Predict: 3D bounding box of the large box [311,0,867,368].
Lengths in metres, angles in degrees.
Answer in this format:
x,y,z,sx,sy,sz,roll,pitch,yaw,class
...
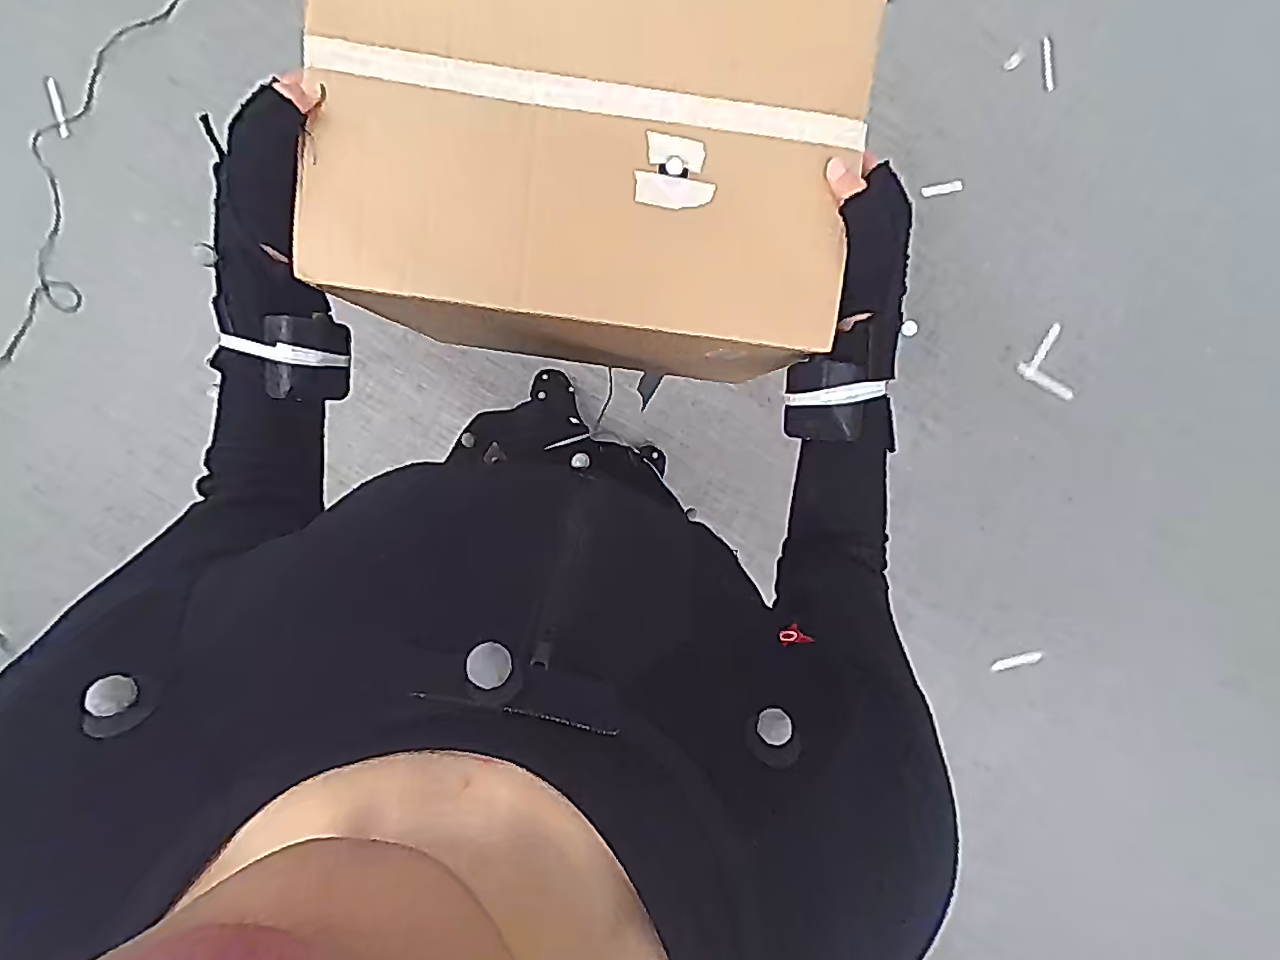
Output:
x,y,z,sx,sy,sz,roll,pitch,yaw,class
-0.045,-0.302,0.550,0.408,0.320,0.320,6,97,-3,large box
